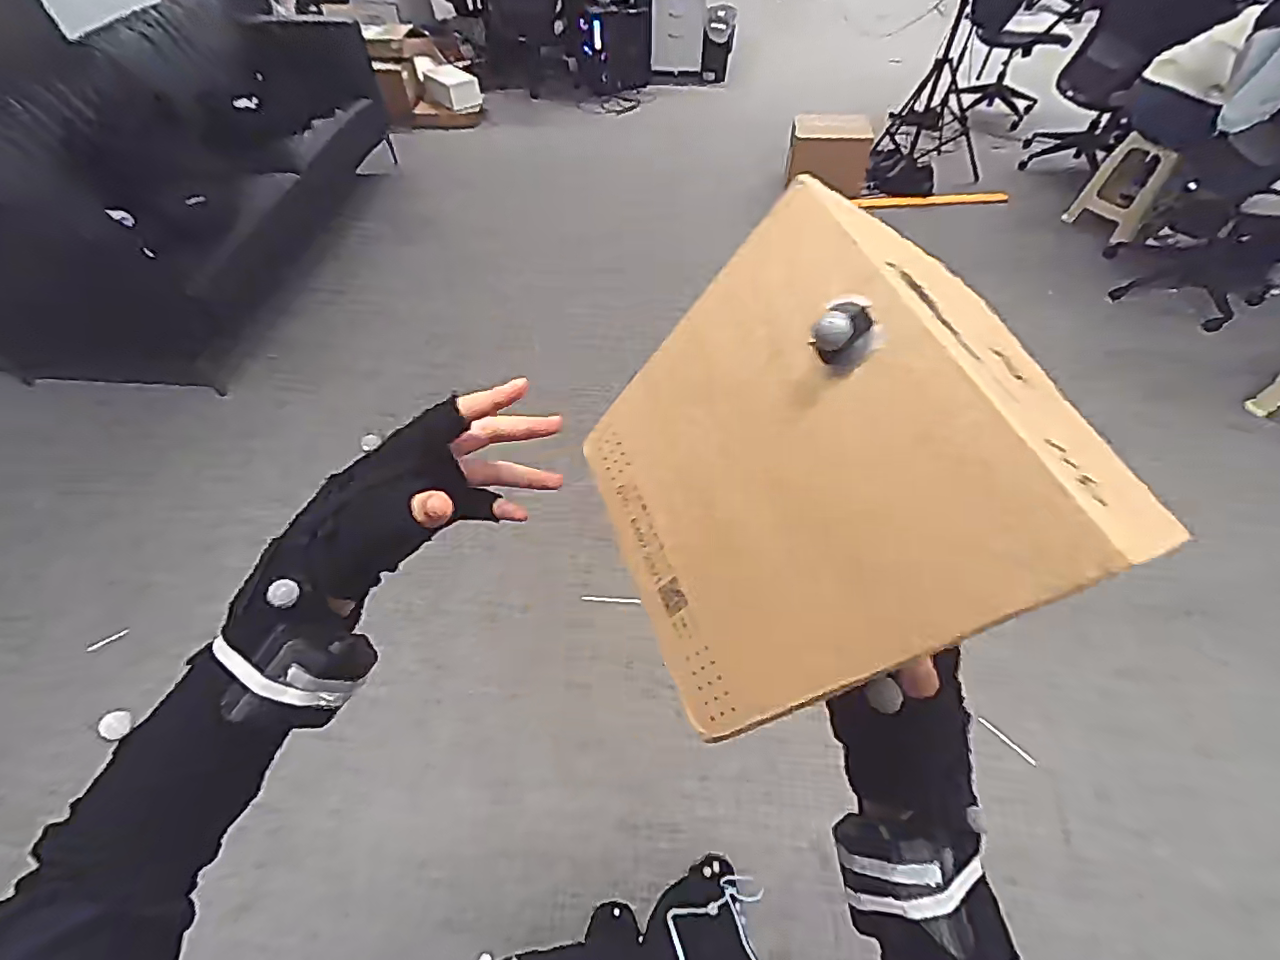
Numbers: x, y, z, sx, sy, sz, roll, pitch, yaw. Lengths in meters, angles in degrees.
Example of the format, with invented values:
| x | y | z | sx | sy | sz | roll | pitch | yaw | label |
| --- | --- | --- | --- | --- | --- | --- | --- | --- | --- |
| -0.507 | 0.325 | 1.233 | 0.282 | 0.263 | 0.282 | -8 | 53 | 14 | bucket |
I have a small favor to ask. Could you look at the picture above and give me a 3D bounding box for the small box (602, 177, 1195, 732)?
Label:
| x | y | z | sx | sy | sz | roll | pitch | yaw | label |
| --- | --- | --- | --- | --- | --- | --- | --- | --- | --- |
| 0.111 | 0.003 | 0.270 | 0.179 | 0.176 | 0.168 | 4 | 53 | -41 | small box |
